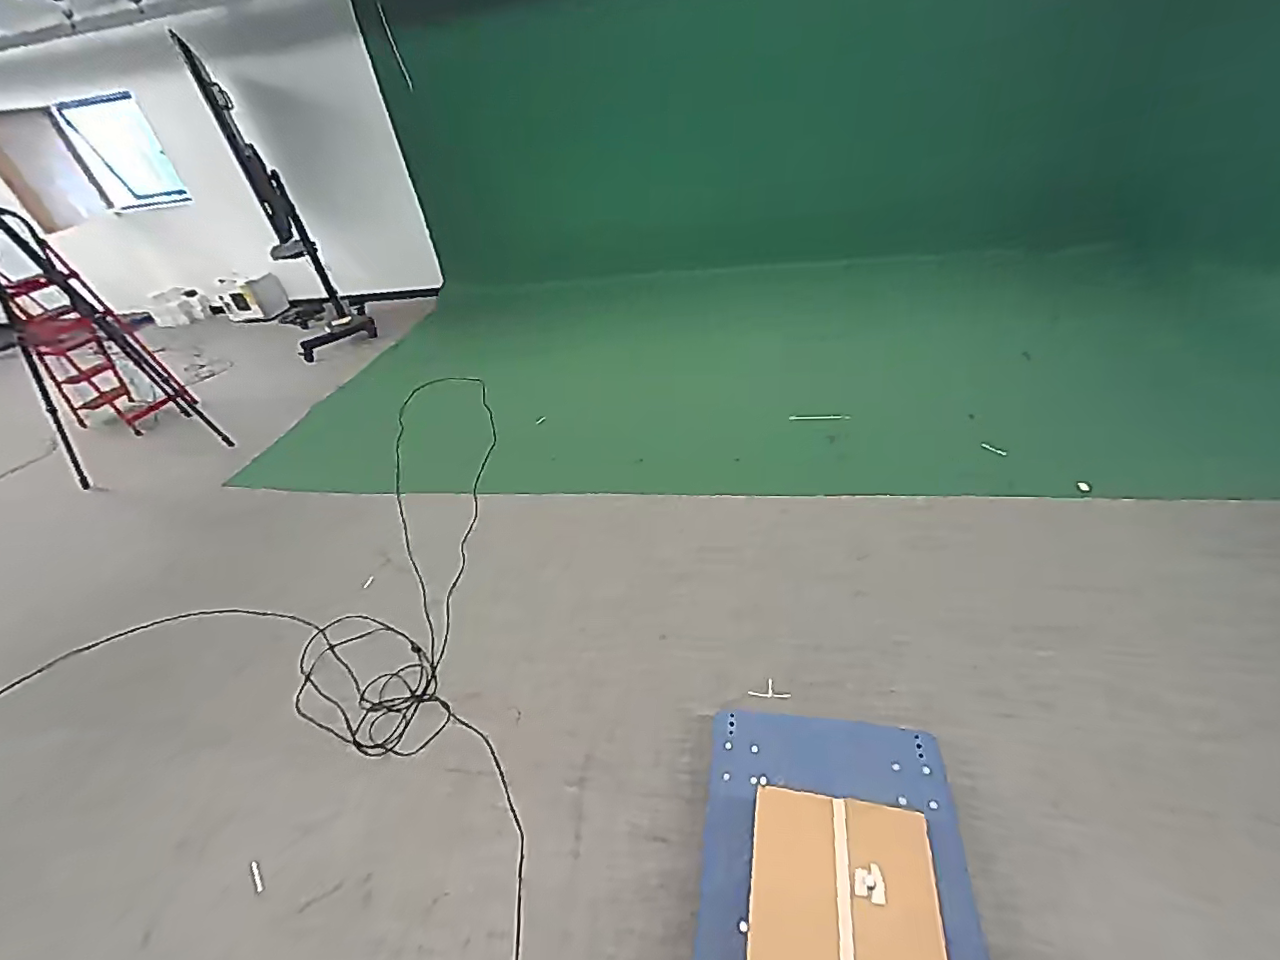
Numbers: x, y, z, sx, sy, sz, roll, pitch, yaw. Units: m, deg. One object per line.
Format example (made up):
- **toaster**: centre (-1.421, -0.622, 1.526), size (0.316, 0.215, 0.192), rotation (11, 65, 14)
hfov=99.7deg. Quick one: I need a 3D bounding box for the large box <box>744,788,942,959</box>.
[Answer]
- **large box**: centre (0.360, 0.872, 1.006), size (0.320, 0.320, 0.408), rotation (3, 39, 14)
